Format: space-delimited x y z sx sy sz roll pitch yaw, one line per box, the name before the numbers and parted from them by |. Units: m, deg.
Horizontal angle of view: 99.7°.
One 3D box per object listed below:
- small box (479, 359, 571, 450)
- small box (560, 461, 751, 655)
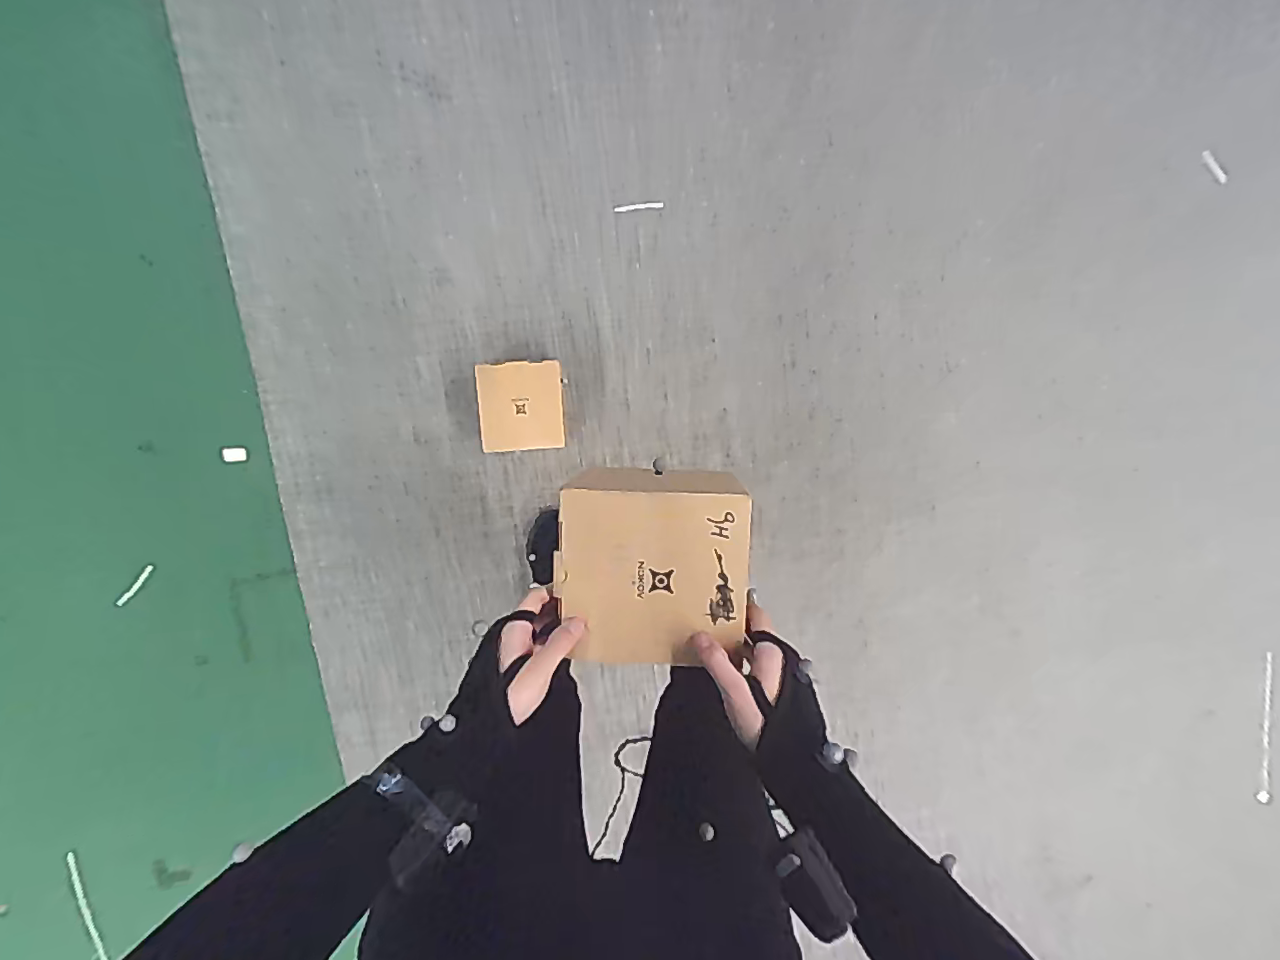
small box | -0.239 -0.162 1.161 0.168 0.176 0.179 -5 97 -5
small box | 0.019 0.070 0.587 0.179 0.176 0.168 3 98 4
